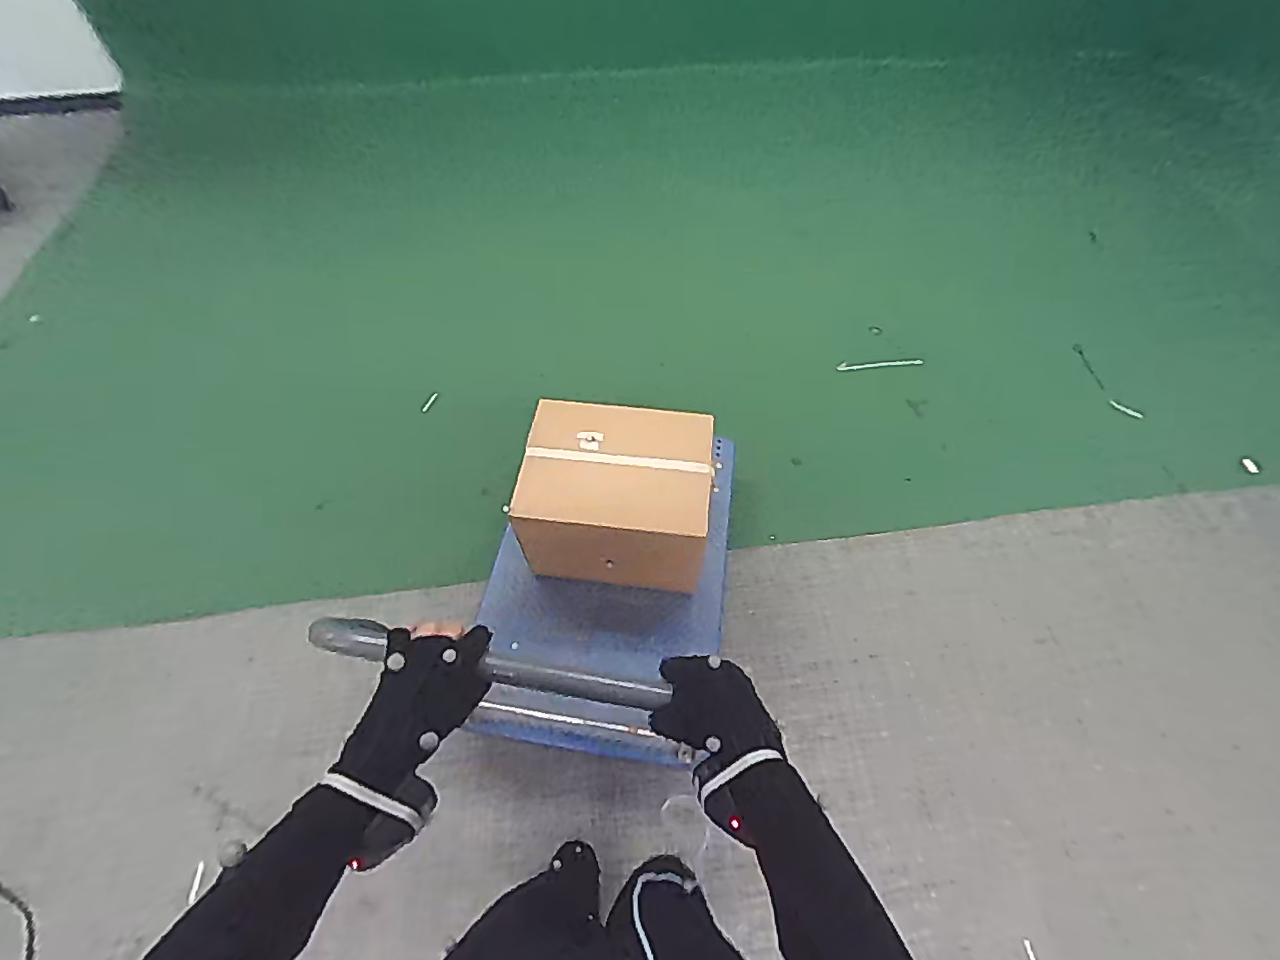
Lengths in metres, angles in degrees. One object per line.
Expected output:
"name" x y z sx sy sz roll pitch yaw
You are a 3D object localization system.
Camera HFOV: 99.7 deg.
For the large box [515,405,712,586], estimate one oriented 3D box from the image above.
"large box" -0.042 0.046 1.298 0.408 0.320 0.320 5 56 4
